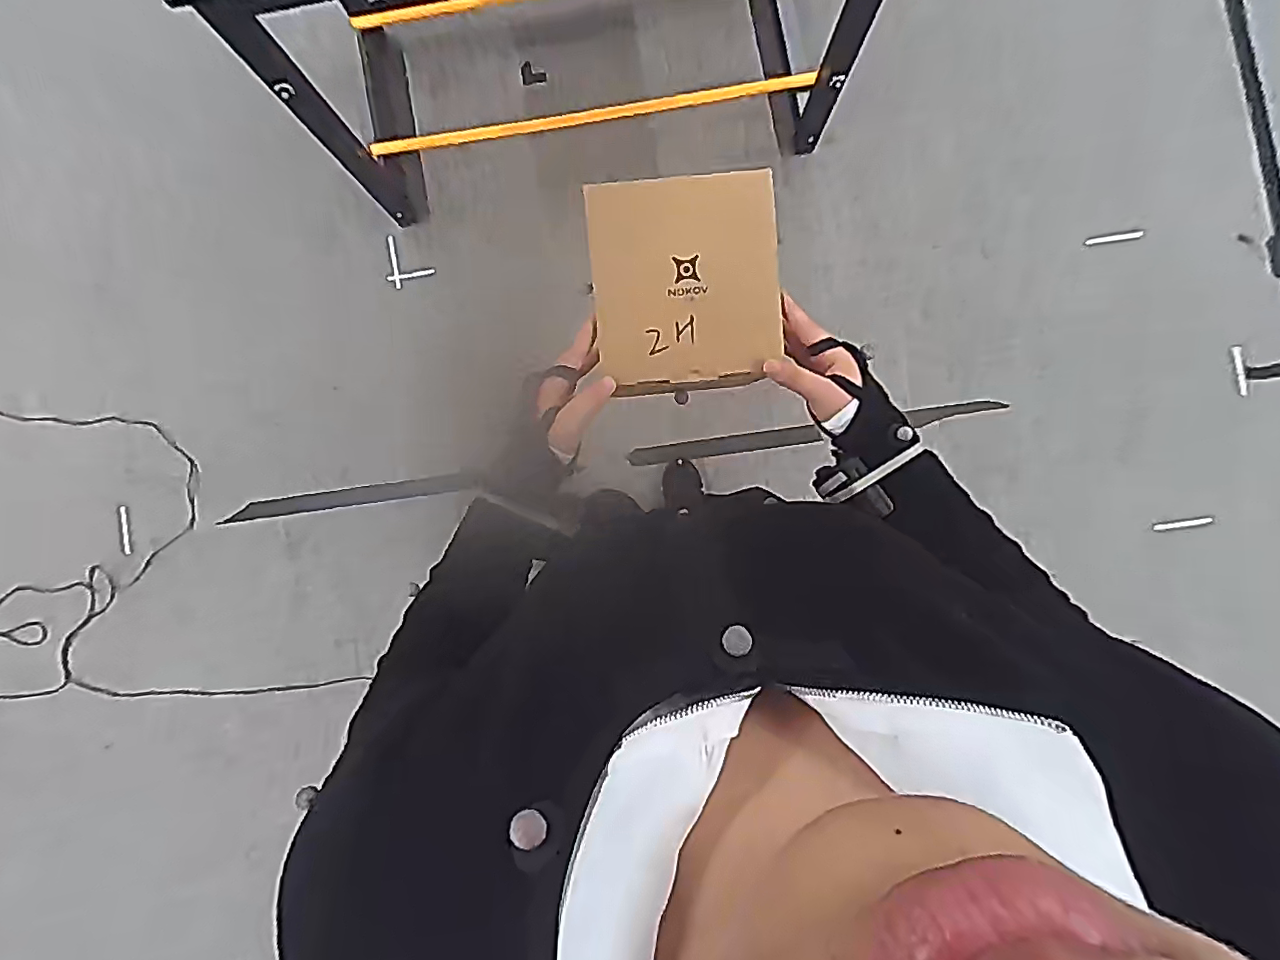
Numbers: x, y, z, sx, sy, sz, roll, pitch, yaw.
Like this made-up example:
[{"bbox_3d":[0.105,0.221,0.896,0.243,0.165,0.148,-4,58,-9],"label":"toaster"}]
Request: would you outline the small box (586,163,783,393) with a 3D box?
[{"bbox_3d":[0.038,-0.189,0.552,0.168,0.176,0.179,-5,95,0],"label":"small box"}]
